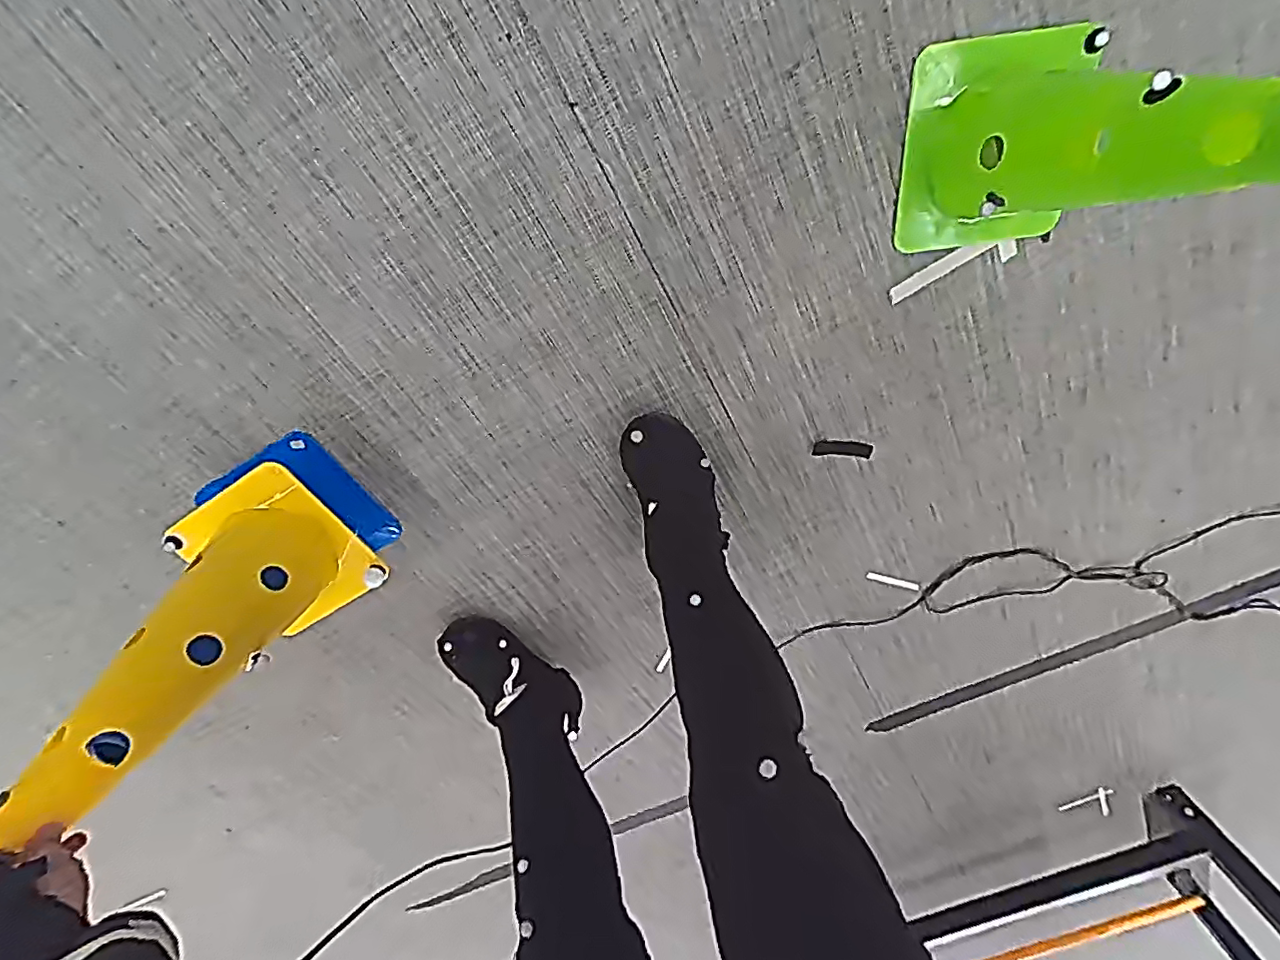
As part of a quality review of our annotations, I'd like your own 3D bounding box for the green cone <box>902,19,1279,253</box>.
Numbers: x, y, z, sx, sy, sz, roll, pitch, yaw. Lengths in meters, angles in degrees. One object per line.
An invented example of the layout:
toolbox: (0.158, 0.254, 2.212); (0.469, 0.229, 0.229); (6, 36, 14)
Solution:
green cone: (0.407, -0.276, 0.444); (0.200, 0.368, 0.202); (-9, 122, 0)
